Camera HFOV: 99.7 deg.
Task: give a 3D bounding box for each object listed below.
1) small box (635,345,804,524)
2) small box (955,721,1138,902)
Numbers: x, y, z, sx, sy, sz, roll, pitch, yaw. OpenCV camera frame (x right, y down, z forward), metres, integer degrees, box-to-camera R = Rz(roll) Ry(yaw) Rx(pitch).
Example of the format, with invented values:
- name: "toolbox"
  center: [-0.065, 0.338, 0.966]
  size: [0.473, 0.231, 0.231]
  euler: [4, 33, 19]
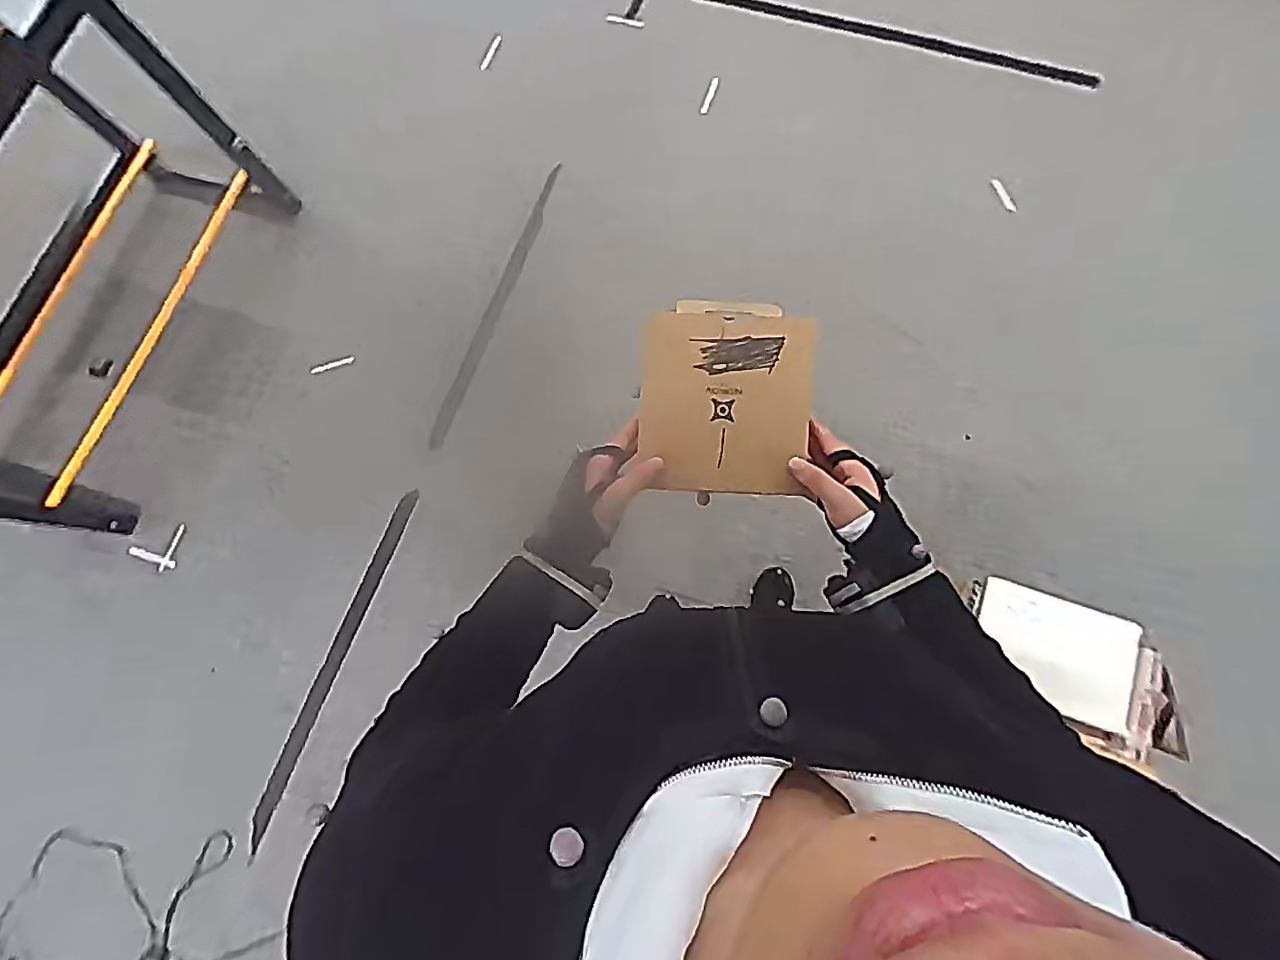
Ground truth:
- name: "small box"
  center: [0.081, -0.044, 0.618]
  size: [0.168, 0.176, 0.179]
  euler: [2, 89, 2]
- name: "small box"
  center: [0.645, 0.521, 0.880]
  size: [0.168, 0.176, 0.179]
  euler: [17, 80, 7]
